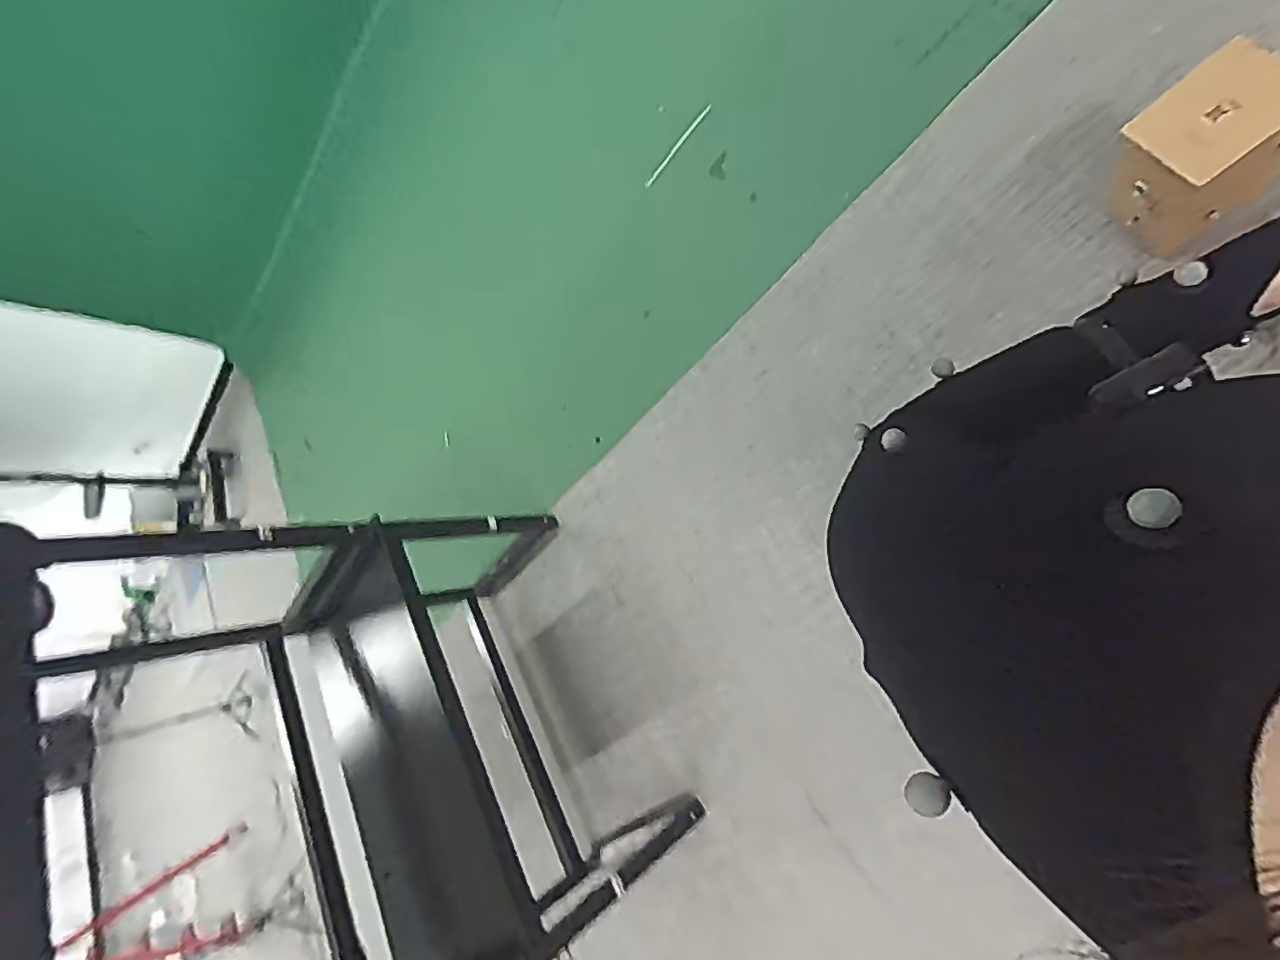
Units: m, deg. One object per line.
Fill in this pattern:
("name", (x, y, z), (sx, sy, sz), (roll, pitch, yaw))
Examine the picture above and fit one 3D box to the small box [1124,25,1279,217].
("small box", (0.974, -0.593, 0.915), (0.179, 0.176, 0.168), (-43, 64, 30))
